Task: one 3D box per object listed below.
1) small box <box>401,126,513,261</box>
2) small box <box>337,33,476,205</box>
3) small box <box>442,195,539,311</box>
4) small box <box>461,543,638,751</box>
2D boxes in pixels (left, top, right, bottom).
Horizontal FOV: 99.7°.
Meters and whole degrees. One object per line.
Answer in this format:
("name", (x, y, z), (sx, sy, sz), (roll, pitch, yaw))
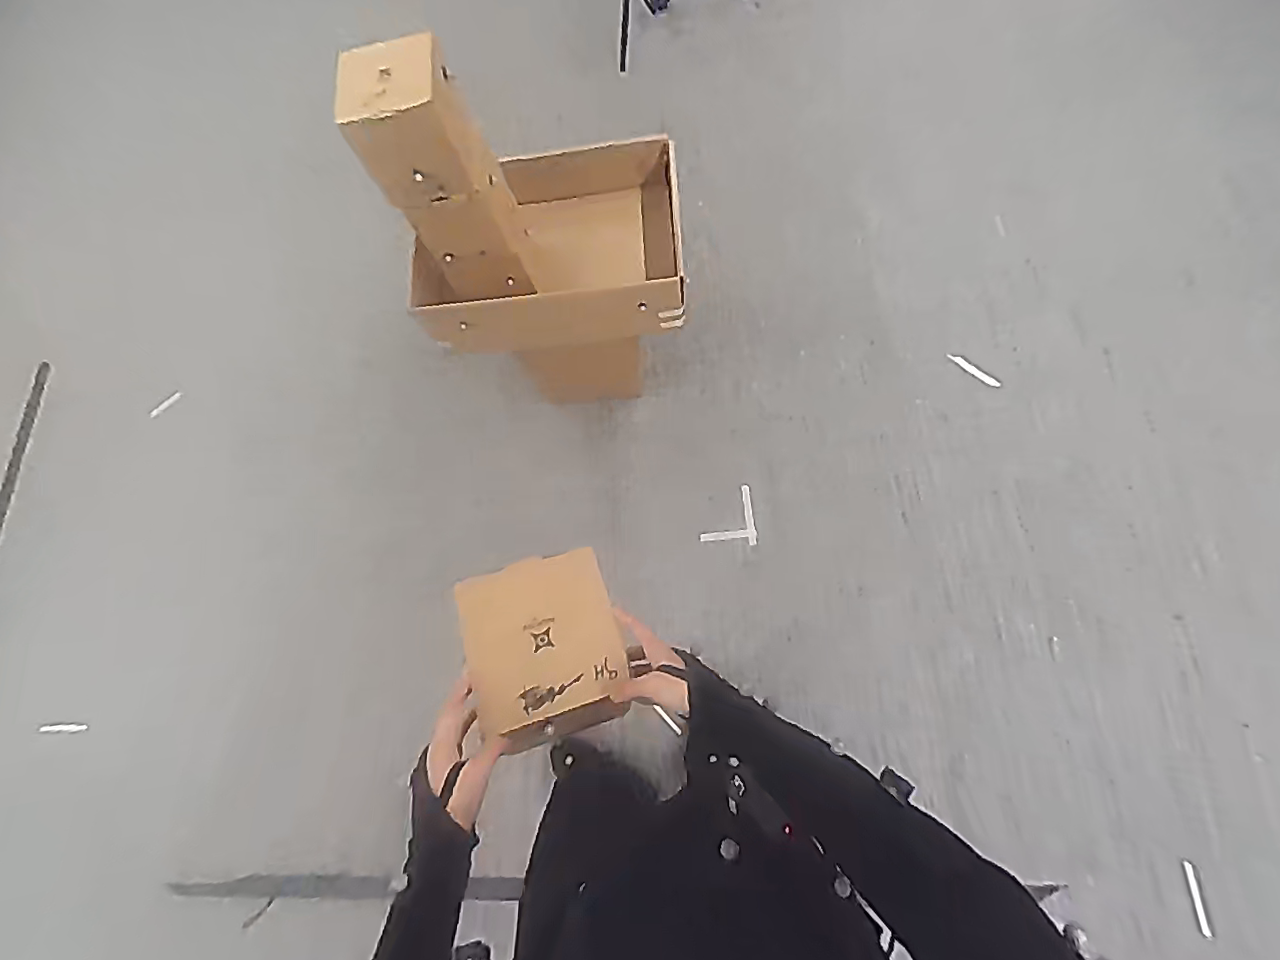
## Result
("small box", (-0.367, -0.573, 1.108), (0.168, 0.176, 0.179), (-8, 71, 5))
("small box", (-0.401, -0.627, 0.954), (0.168, 0.176, 0.179), (-10, 71, 5))
("small box", (-0.342, -0.522, 1.261), (0.179, 0.176, 0.168), (-9, 72, 6))
("small box", (-0.110, 0.206, 0.660), (0.168, 0.176, 0.179), (-14, 59, -13))
